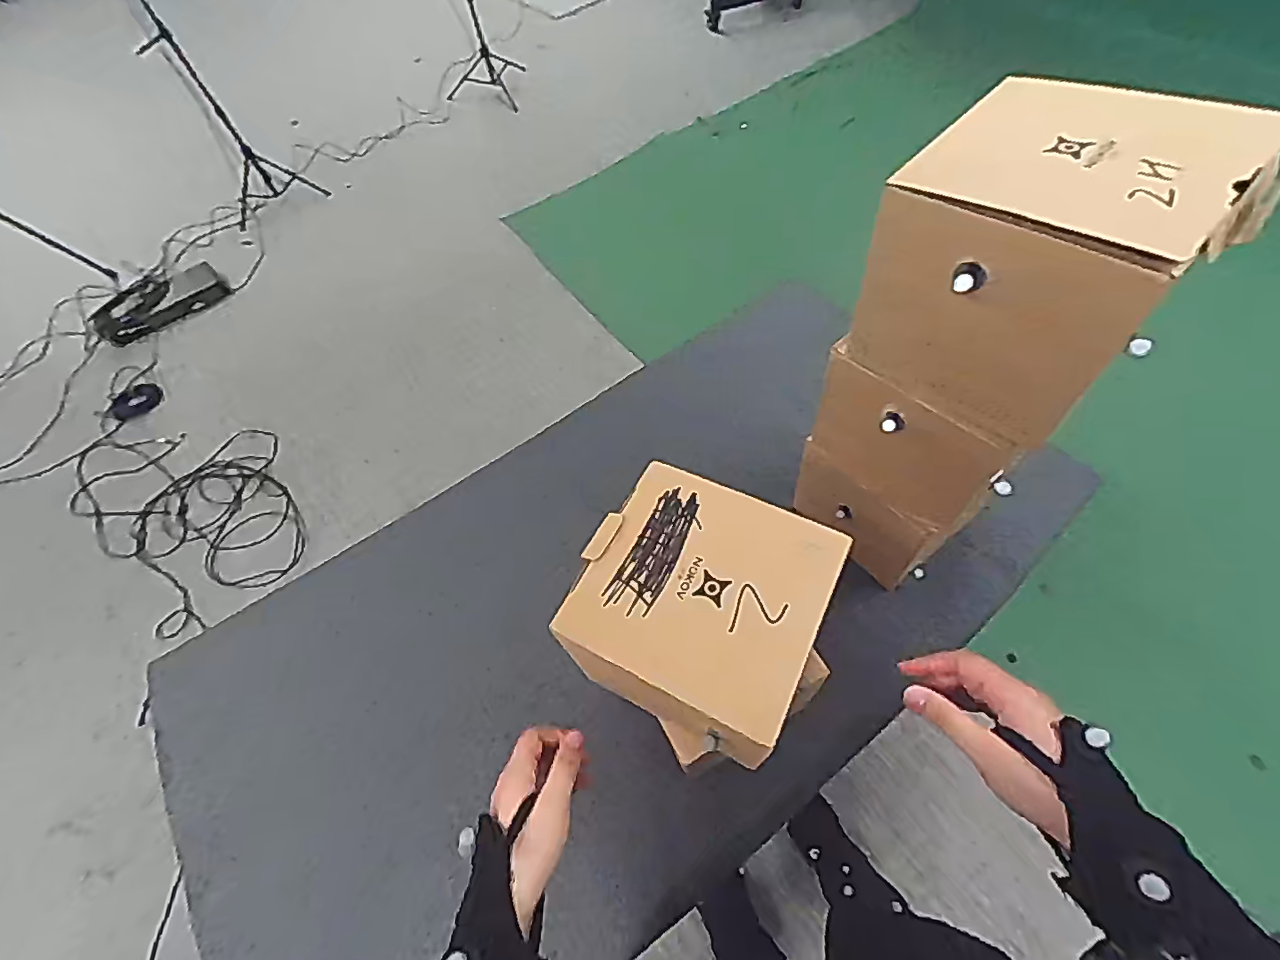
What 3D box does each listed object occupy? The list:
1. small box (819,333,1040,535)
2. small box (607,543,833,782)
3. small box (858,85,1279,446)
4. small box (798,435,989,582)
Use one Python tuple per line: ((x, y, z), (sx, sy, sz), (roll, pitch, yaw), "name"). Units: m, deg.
((0.310, -0.074, 0.556), (0.168, 0.176, 0.179), (-40, 62, -15), "small box")
((0.081, 0.208, 0.605), (0.168, 0.176, 0.179), (-28, 58, -10), "small box")
((0.296, -0.158, 0.413), (0.168, 0.176, 0.179), (-43, 61, -16), "small box")
((0.328, 0.009, 0.694), (0.168, 0.176, 0.179), (-36, 59, -14), "small box")
